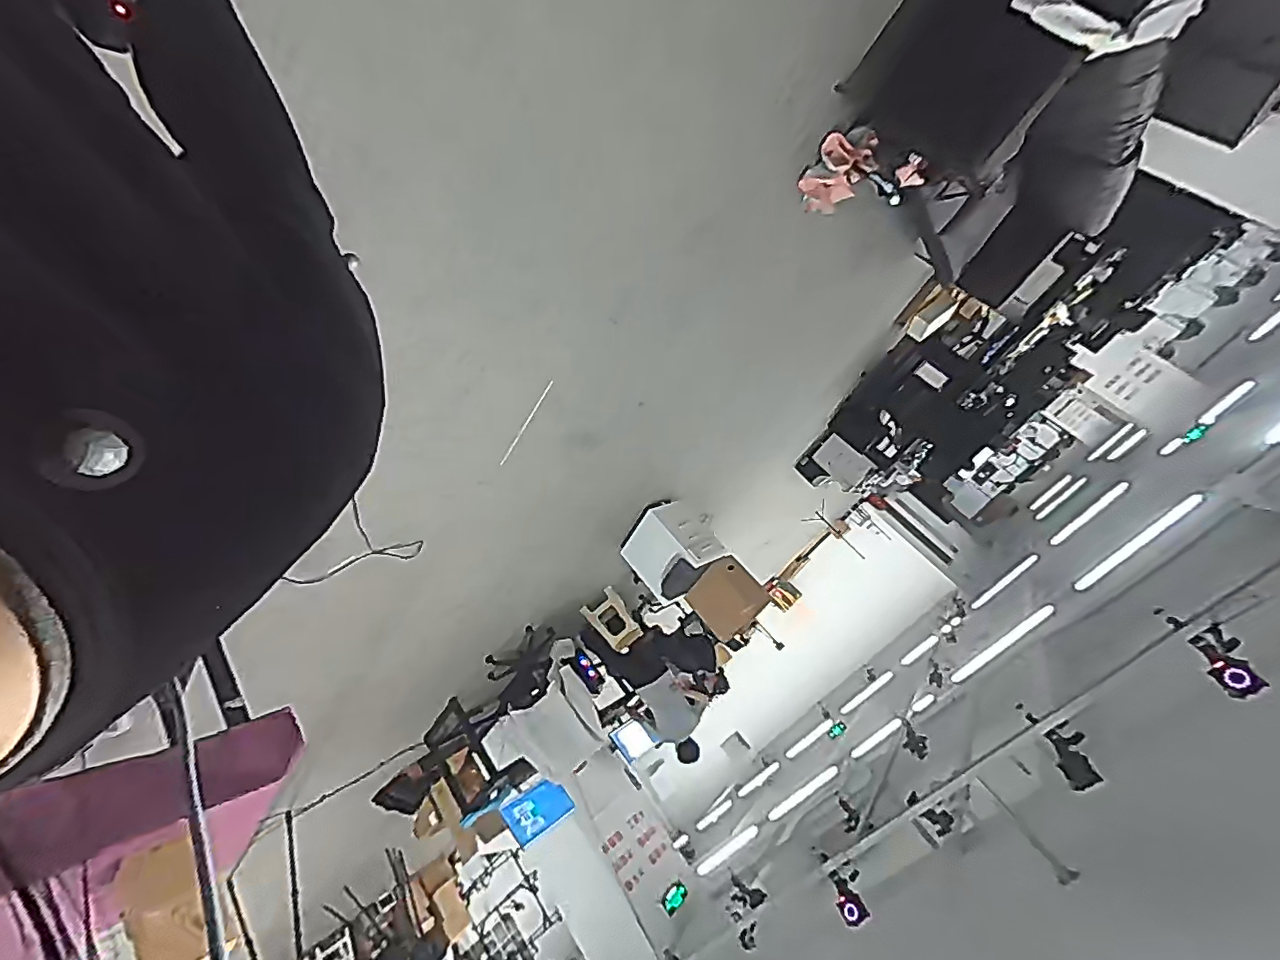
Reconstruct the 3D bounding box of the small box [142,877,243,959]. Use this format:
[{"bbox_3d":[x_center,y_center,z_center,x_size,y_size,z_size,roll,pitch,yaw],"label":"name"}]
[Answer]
[{"bbox_3d":[-1.193,1.208,1.437,0.168,0.176,0.179,-5,139,-53],"label":"small box"}]
